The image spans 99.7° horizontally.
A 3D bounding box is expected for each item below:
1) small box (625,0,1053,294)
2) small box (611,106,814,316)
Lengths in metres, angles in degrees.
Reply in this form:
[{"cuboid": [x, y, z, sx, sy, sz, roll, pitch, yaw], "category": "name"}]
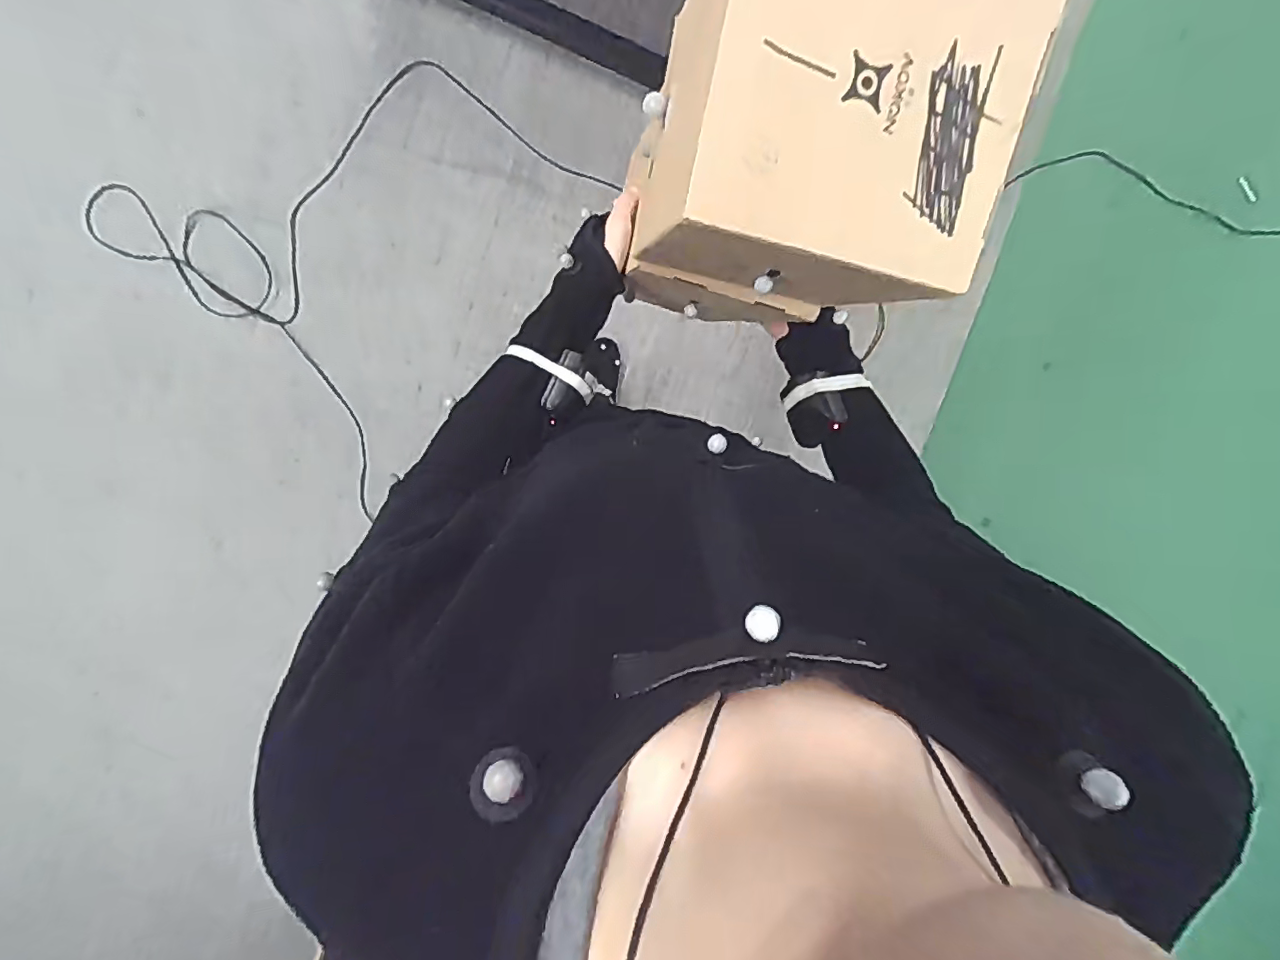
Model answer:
[{"cuboid": [0.100, -0.222, 0.347, 0.179, 0.176, 0.168, 10, 103, -13], "category": "small box"}, {"cuboid": [0.076, -0.263, 0.505, 0.168, 0.176, 0.179, 13, 103, -13], "category": "small box"}]
